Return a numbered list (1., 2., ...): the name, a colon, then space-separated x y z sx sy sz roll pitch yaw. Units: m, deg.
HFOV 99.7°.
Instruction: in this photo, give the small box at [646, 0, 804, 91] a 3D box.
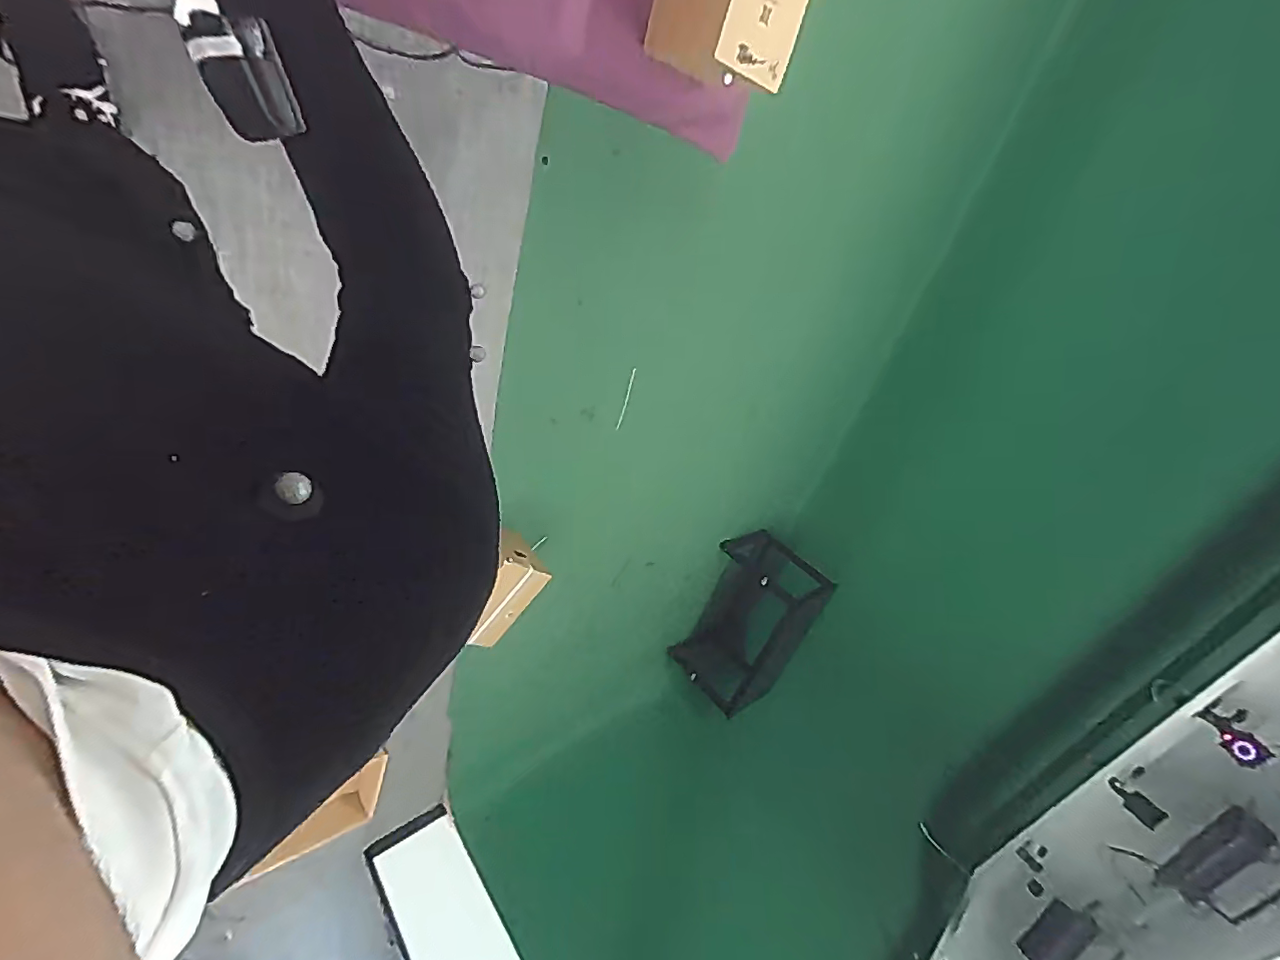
1. small box: 0.133 -0.745 0.843 0.168 0.176 0.179 -11 129 -42
